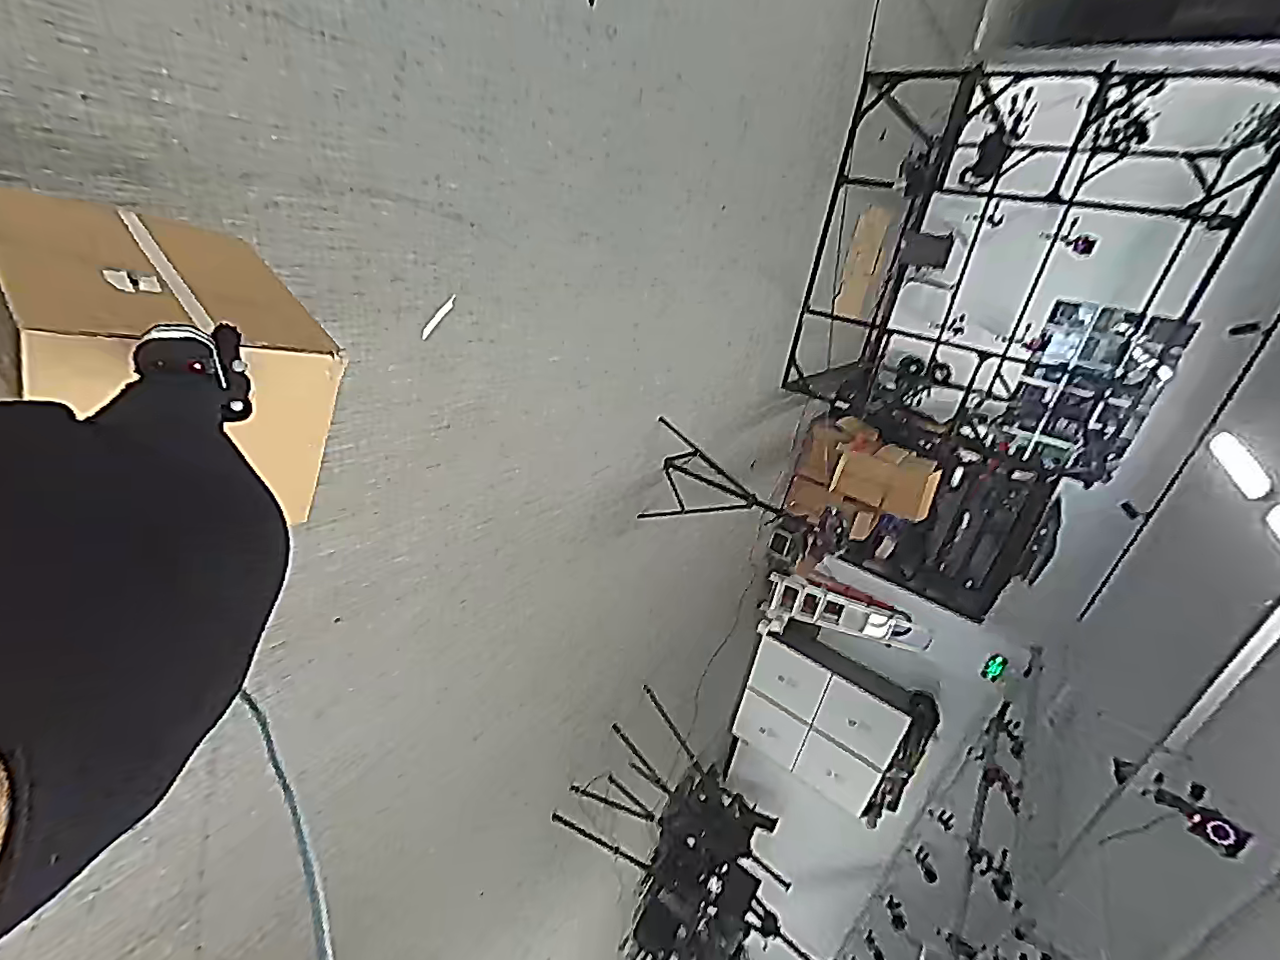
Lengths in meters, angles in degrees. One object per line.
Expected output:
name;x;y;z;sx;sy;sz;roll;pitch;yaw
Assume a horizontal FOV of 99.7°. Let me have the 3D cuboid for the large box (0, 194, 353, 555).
large box;-0.710;-0.153;0.810;0.320;0.408;0.320;-9;135;-53
